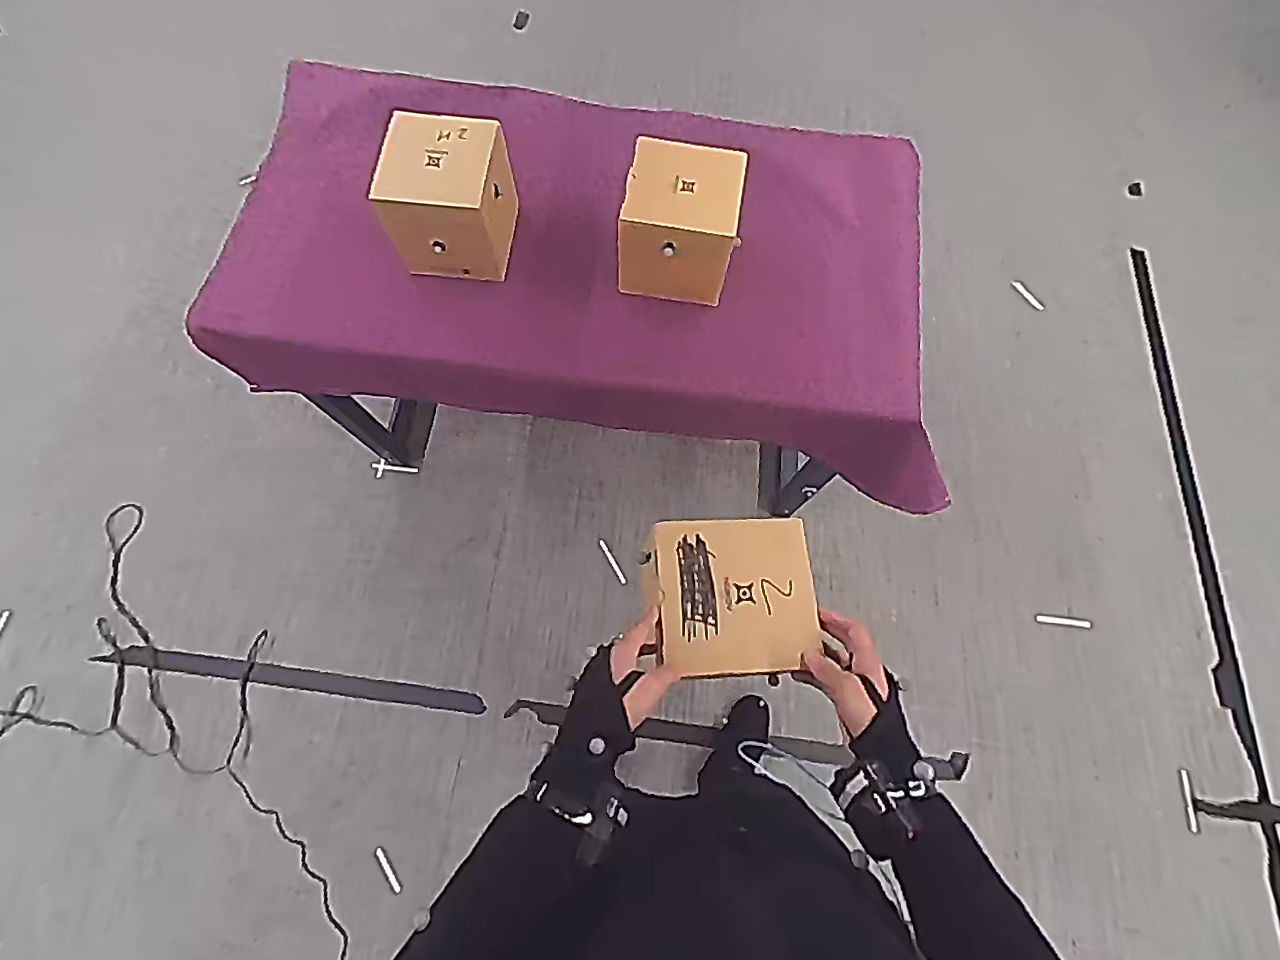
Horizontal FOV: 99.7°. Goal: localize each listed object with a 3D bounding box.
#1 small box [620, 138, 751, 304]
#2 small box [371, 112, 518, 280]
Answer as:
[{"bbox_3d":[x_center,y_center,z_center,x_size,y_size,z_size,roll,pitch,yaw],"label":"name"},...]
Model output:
[{"bbox_3d":[0.069,-0.410,0.880,0.179,0.176,0.168,10,72,3],"label":"small box"},{"bbox_3d":[-0.304,-0.454,0.882,0.168,0.176,0.179,6,72,0],"label":"small box"}]
